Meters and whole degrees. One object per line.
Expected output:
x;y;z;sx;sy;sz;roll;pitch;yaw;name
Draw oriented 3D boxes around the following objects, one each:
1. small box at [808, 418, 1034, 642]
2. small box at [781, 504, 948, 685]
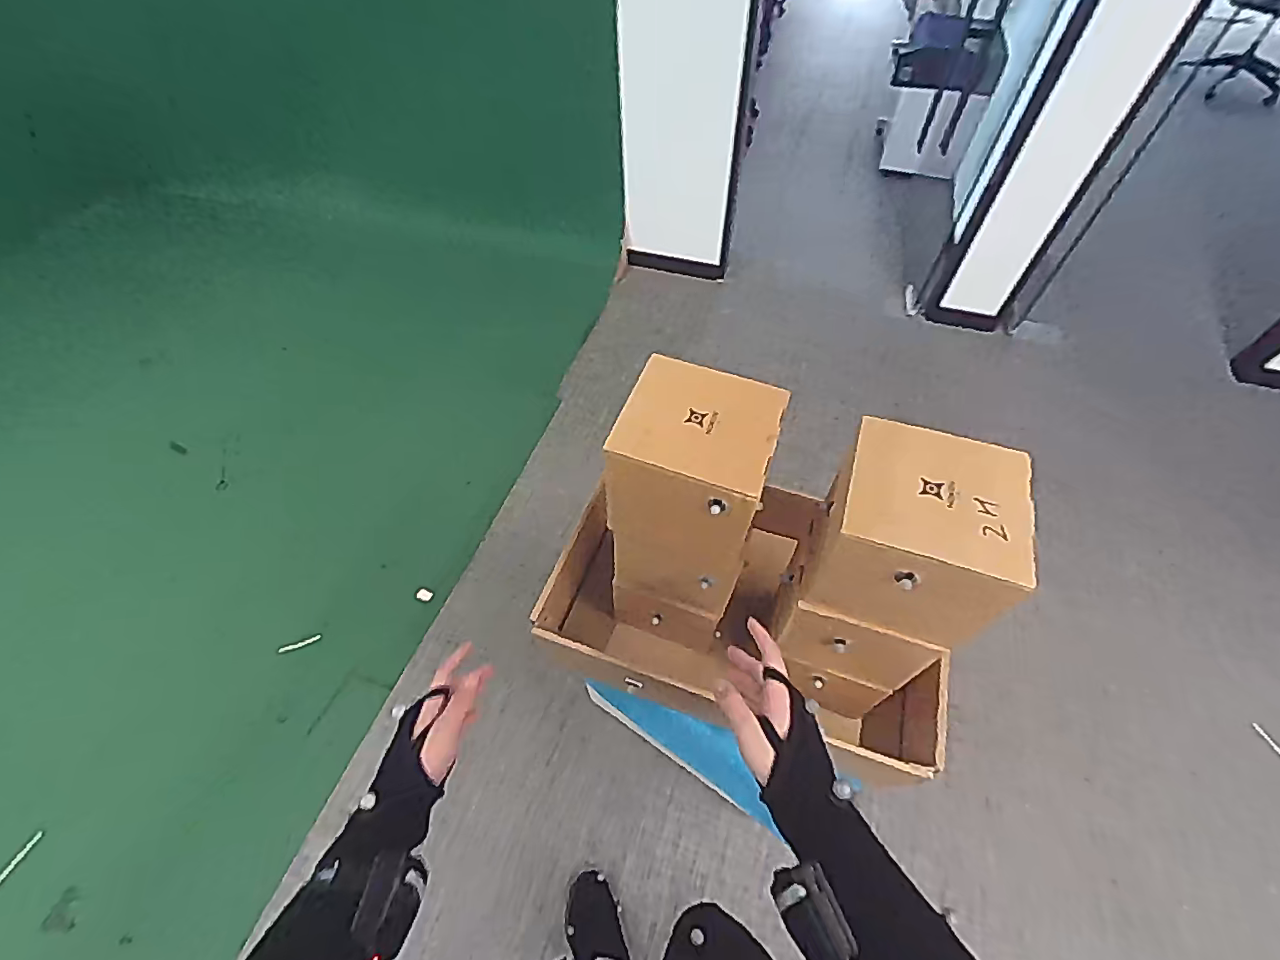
0.302;0.061;0.609;0.179;0.176;0.168;16;57;14;small box
0.300;0.161;0.741;0.179;0.176;0.168;13;56;14;small box
